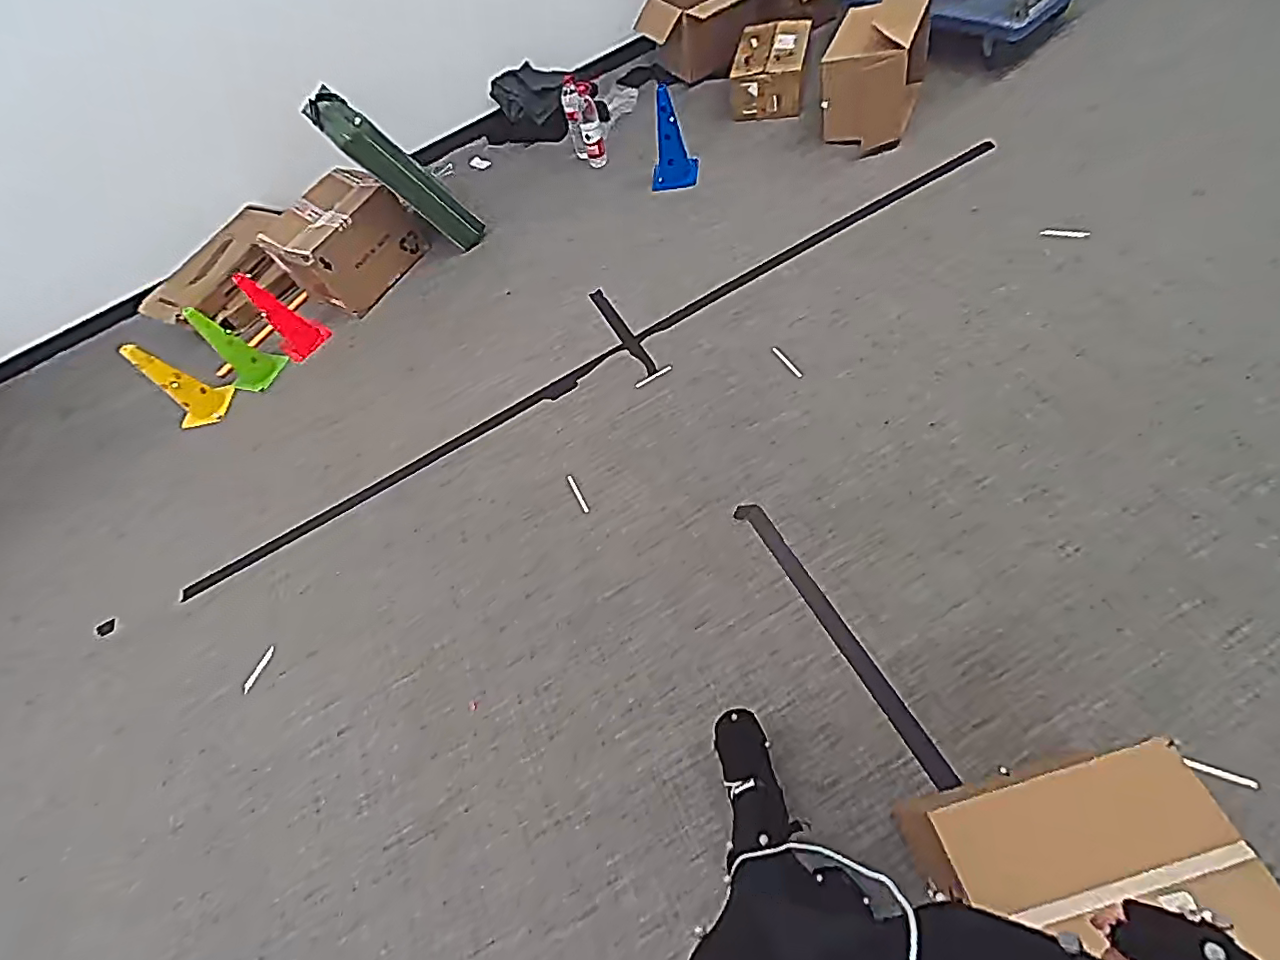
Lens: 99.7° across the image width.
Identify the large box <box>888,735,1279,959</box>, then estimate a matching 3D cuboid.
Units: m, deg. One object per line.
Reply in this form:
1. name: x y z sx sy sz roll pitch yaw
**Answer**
1. large box: 0.711 0.674 0.920 0.408 0.320 0.320 -19 58 1
